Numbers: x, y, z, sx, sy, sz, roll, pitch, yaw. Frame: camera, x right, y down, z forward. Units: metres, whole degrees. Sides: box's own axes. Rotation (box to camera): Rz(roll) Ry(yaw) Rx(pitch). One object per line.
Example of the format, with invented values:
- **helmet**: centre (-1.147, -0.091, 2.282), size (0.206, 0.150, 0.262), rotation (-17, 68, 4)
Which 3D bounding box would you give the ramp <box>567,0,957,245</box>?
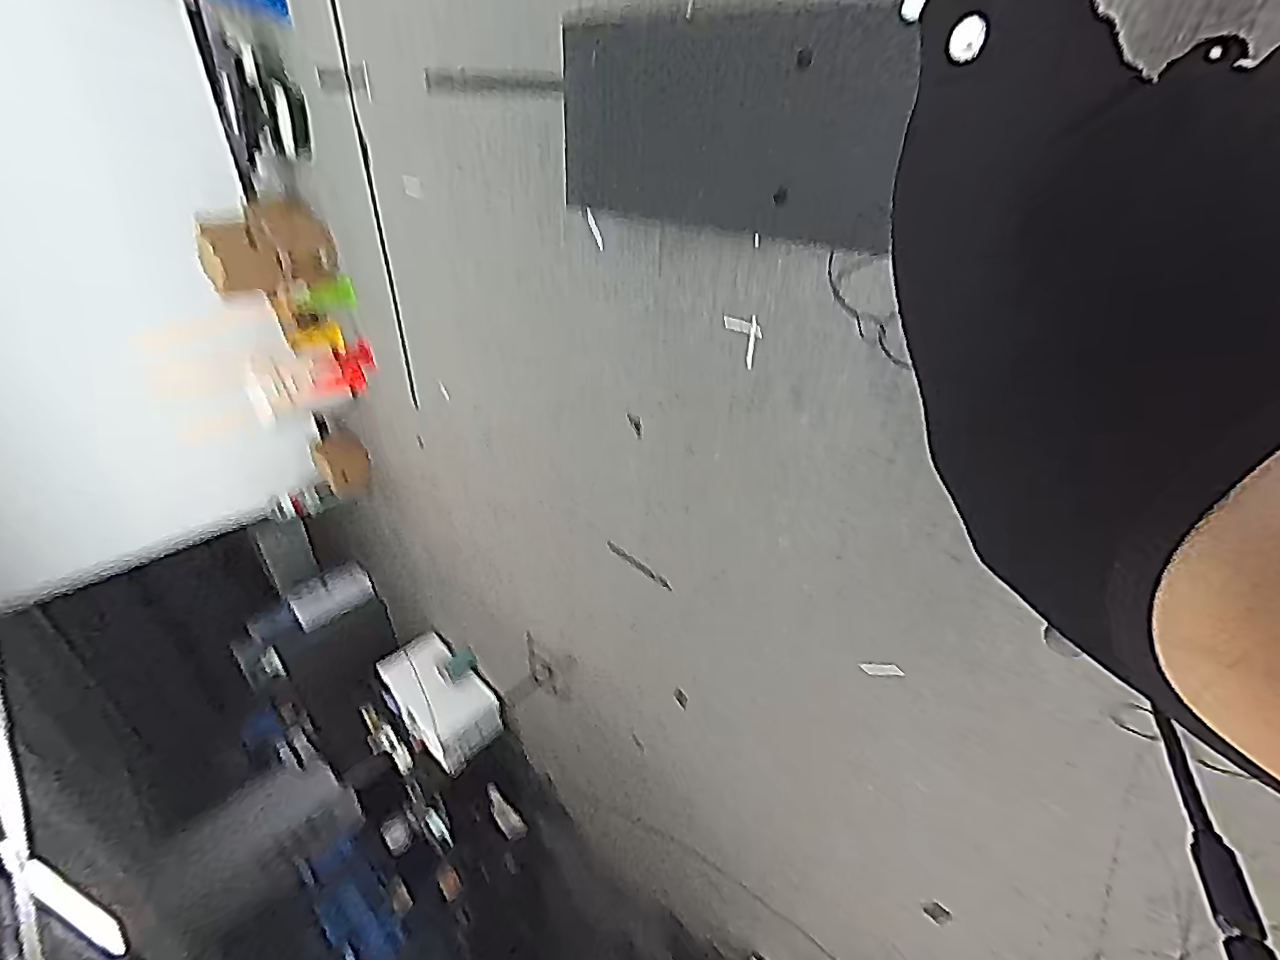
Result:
- **ramp**: centre (0.213, -0.951, 1.425), size (0.991, 0.206, 0.509), rotation (27, 129, 33)
